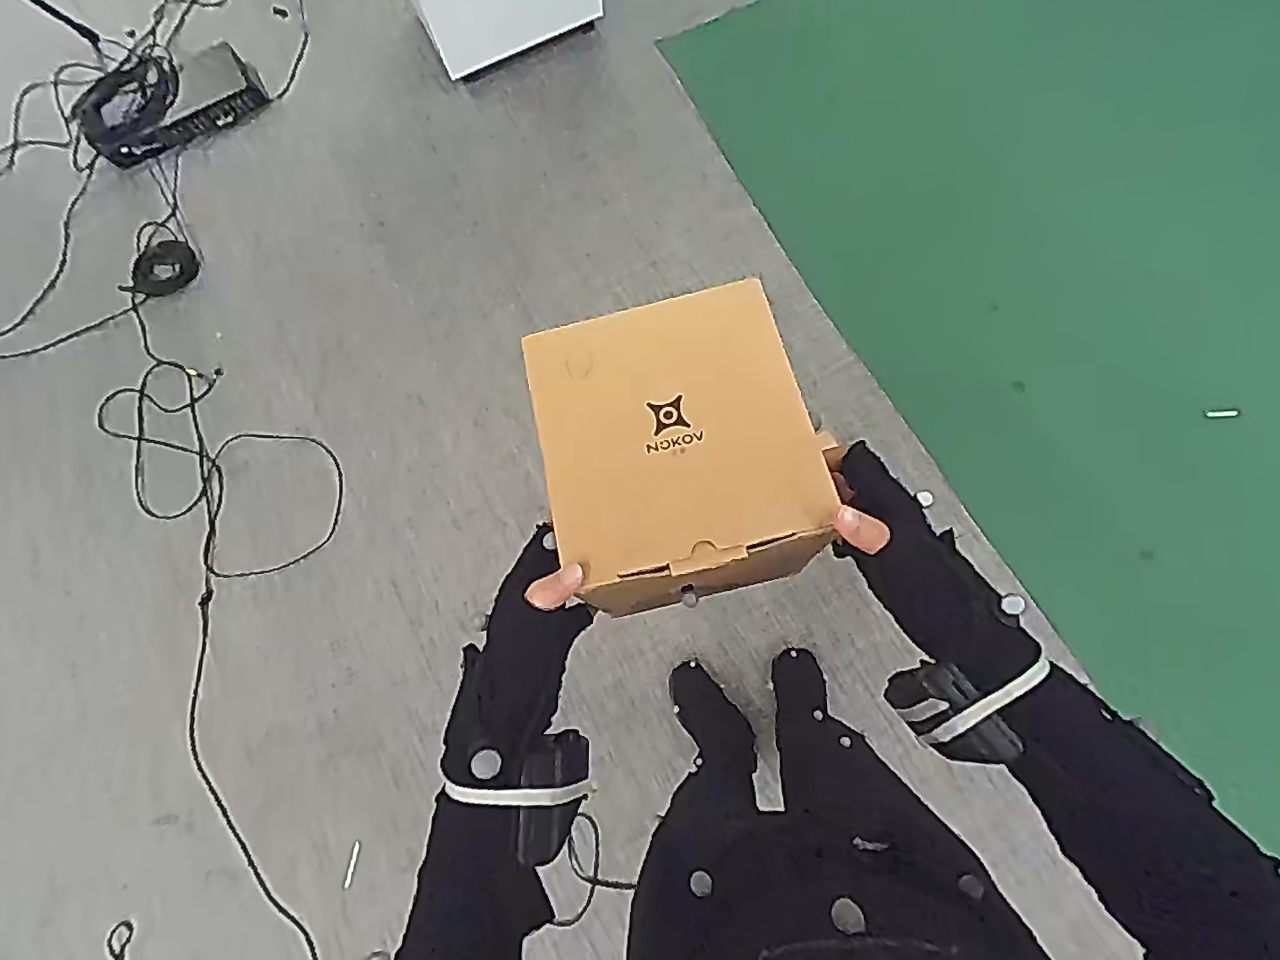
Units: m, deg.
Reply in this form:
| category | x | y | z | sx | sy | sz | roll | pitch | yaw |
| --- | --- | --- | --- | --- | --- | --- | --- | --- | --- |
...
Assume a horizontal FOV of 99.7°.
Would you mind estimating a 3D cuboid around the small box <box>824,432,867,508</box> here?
| category | x | y | z | sx | sy | sz | roll | pitch | yaw |
| --- | --- | --- | --- | --- | --- | --- | --- | --- | --- |
| small box | 0.399 | 0.016 | 1.284 | 0.168 | 0.176 | 0.179 | -26 | 77 | -4 |

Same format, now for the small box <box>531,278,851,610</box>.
| category | x | y | z | sx | sy | sz | roll | pitch | yaw |
| --- | --- | --- | --- | --- | --- | --- | --- | --- | --- |
| small box | 0.029 | -0.012 | 0.408 | 0.168 | 0.176 | 0.179 | -14 | 71 | 1 |
